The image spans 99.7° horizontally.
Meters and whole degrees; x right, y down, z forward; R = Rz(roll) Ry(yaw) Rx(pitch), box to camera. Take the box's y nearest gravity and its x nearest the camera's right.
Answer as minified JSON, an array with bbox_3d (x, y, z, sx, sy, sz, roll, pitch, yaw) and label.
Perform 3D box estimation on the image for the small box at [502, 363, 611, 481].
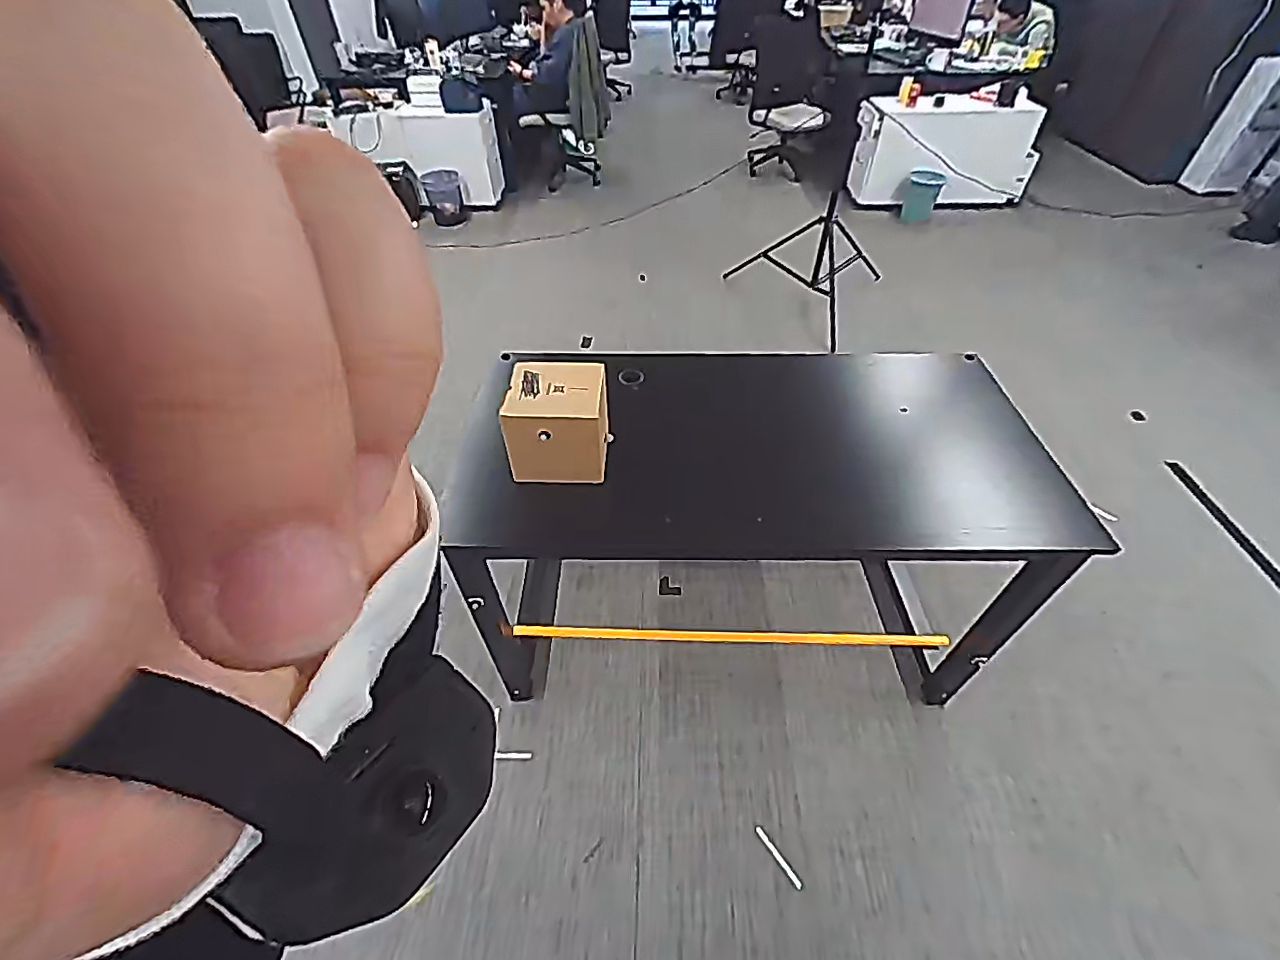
[{"bbox_3d":[-0.153,-0.112,1.056,0.179,0.176,0.168,1,47,1],"label":"small box"}]
